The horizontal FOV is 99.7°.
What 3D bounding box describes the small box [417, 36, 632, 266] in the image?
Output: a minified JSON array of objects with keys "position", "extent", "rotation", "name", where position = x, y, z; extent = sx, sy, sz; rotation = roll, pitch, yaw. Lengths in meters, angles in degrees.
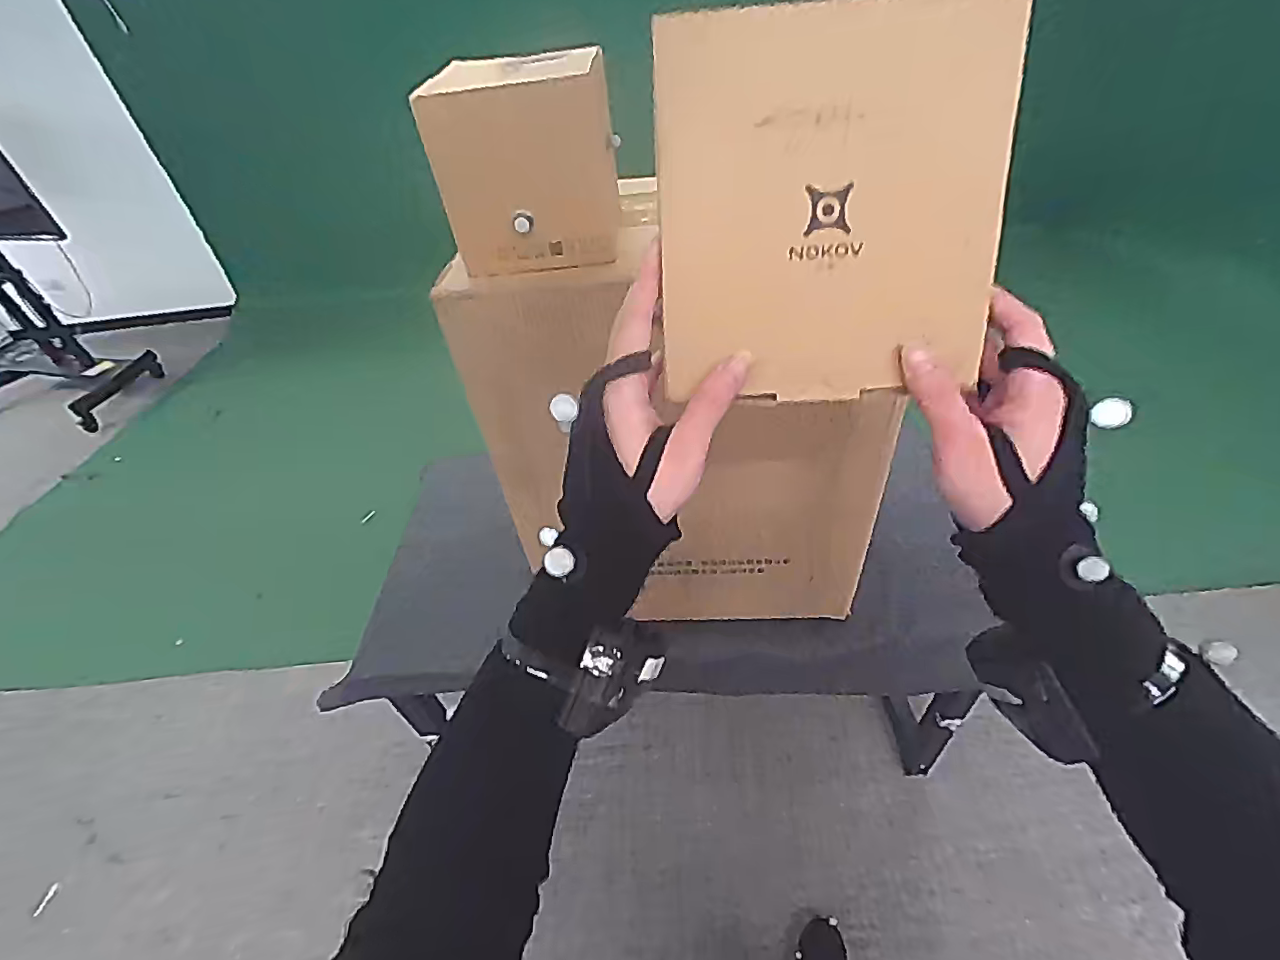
[{"position":[-0.101,-0.344,0.570],"extent":[0.168,0.176,0.179],"rotation":[-2,45,6],"name":"small box"}]
